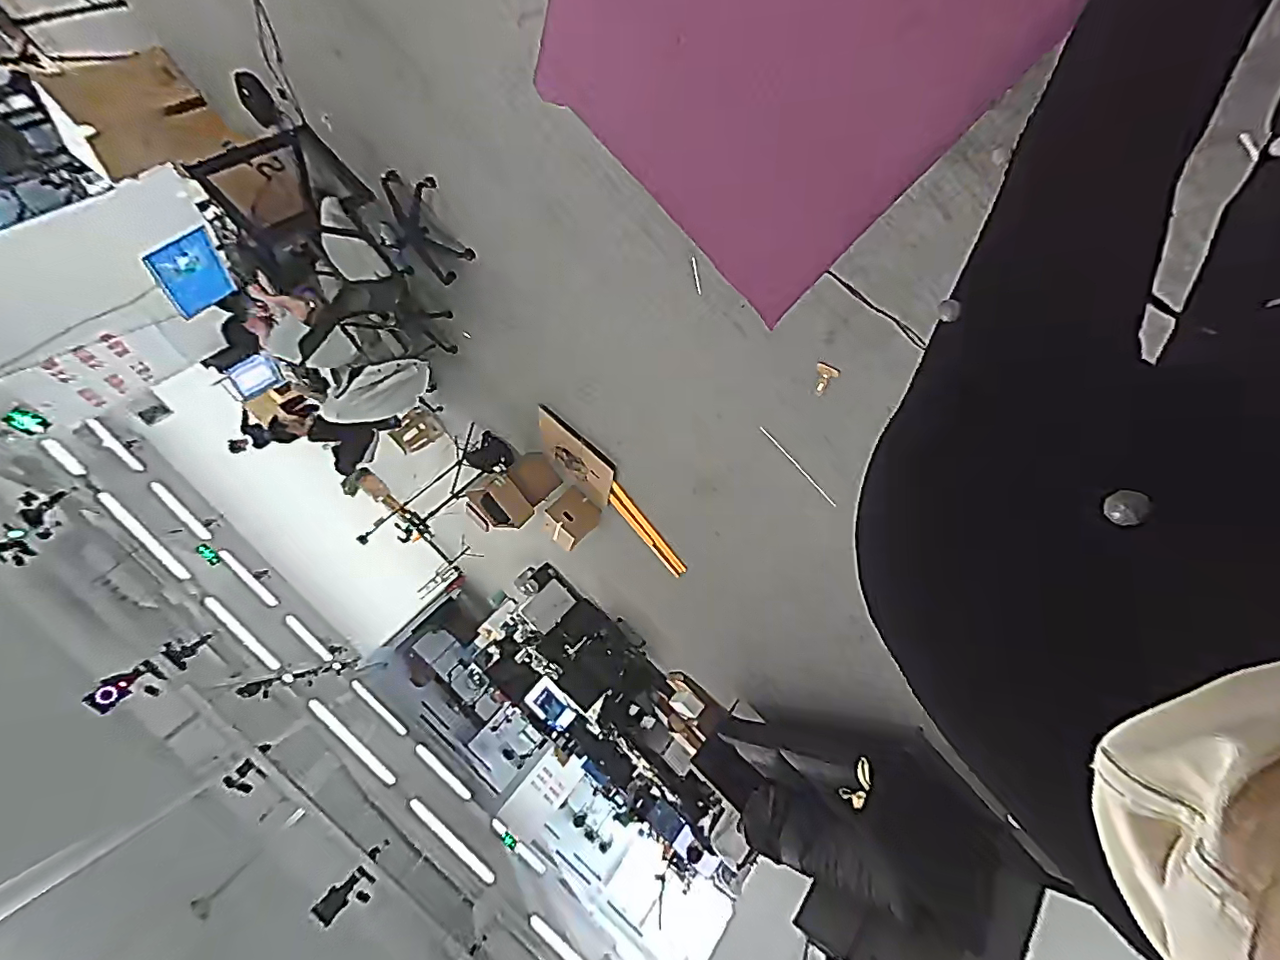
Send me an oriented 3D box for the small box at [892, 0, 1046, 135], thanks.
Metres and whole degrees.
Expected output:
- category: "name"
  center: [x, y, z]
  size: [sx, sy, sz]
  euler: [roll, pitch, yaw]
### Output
- category: "small box"
  center: [0.653, -0.842, 1.075]
  size: [0.179, 0.176, 0.168]
  euler: [43, 153, 5]
